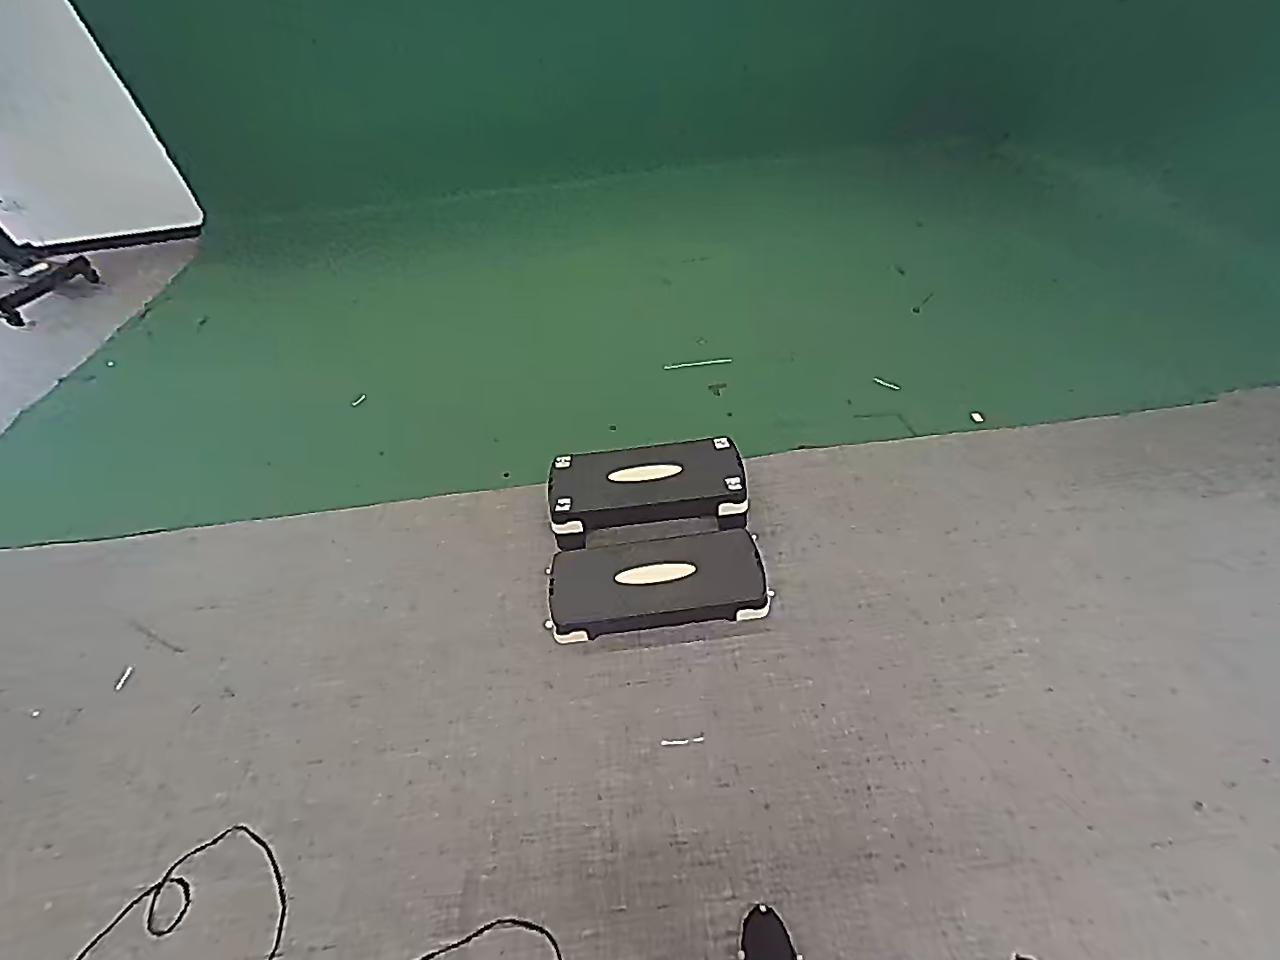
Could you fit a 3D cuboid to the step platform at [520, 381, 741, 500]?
[{"bbox_3d":[-0.027,-0.129,1.756,0.684,0.204,0.286,-7,48,0],"label":"step platform"}]
